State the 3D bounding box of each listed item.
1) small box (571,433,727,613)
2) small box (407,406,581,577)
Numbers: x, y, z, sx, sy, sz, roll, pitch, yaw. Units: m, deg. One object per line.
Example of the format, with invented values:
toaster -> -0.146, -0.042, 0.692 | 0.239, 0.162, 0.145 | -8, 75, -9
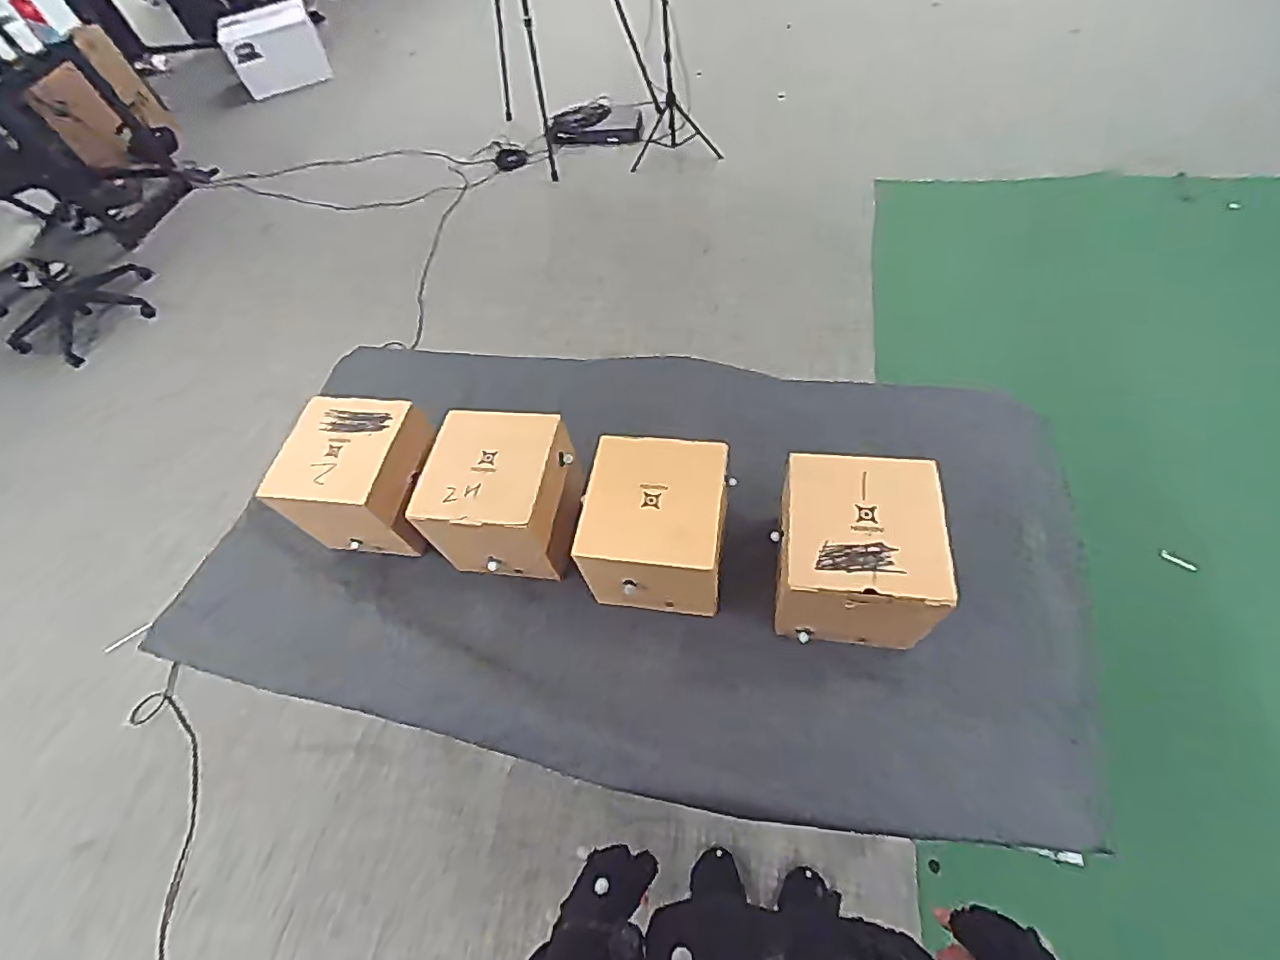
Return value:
small box -> 0.025, 0.060, 0.709 | 0.168, 0.176, 0.179 | 4, 58, 11
small box -> -0.189, 0.018, 0.765 | 0.168, 0.176, 0.179 | 4, 59, 11
